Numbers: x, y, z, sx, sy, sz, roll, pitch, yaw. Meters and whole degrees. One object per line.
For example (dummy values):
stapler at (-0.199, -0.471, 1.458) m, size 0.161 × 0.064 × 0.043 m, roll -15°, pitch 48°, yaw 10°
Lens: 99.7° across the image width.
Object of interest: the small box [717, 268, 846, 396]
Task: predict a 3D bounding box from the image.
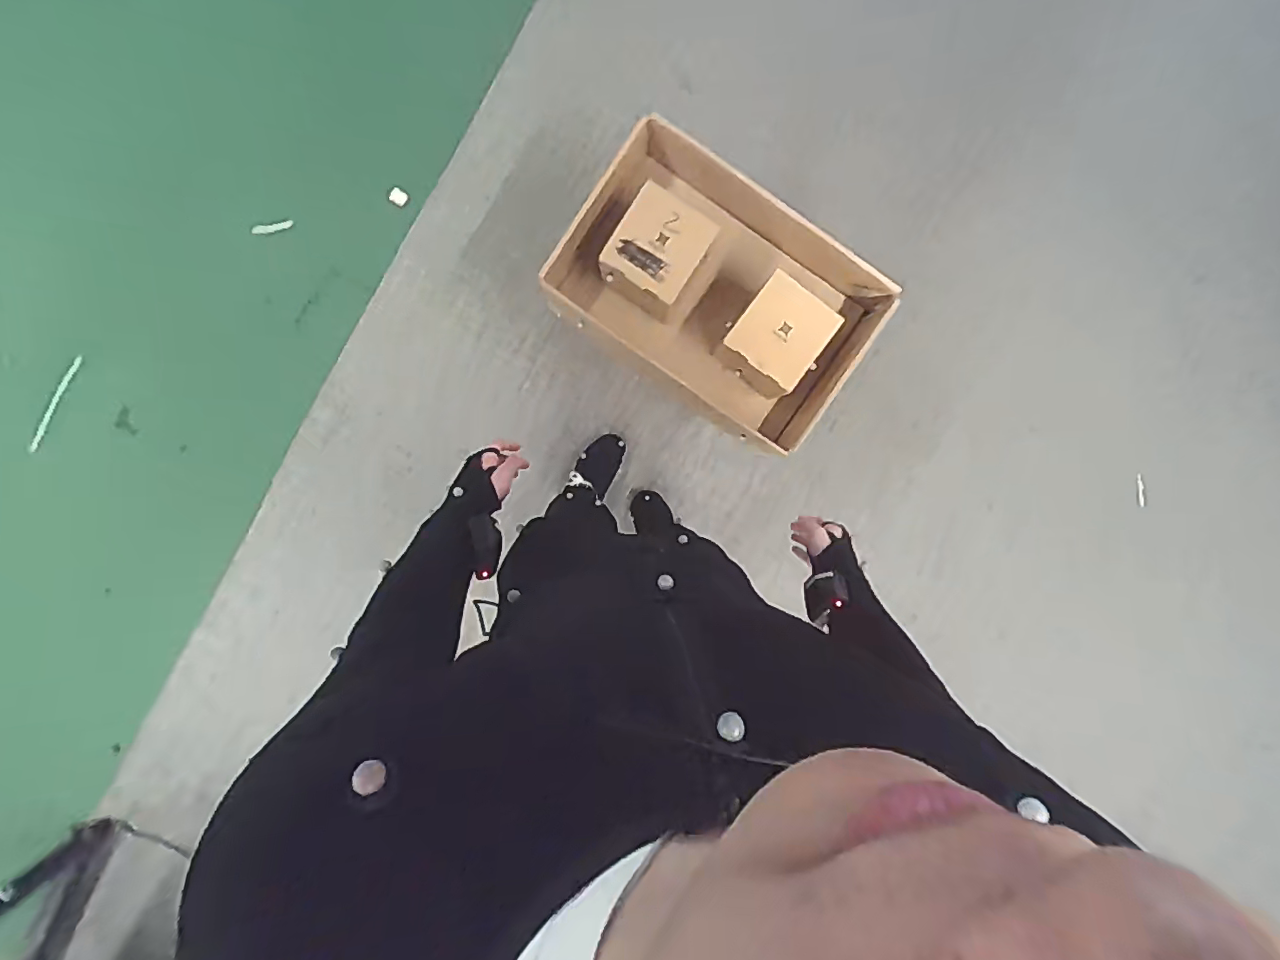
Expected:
small box at (0.276, -0.290, 1.102) m, size 0.168 × 0.176 × 0.179 m, roll 36°, pitch 93°, yaw -3°
